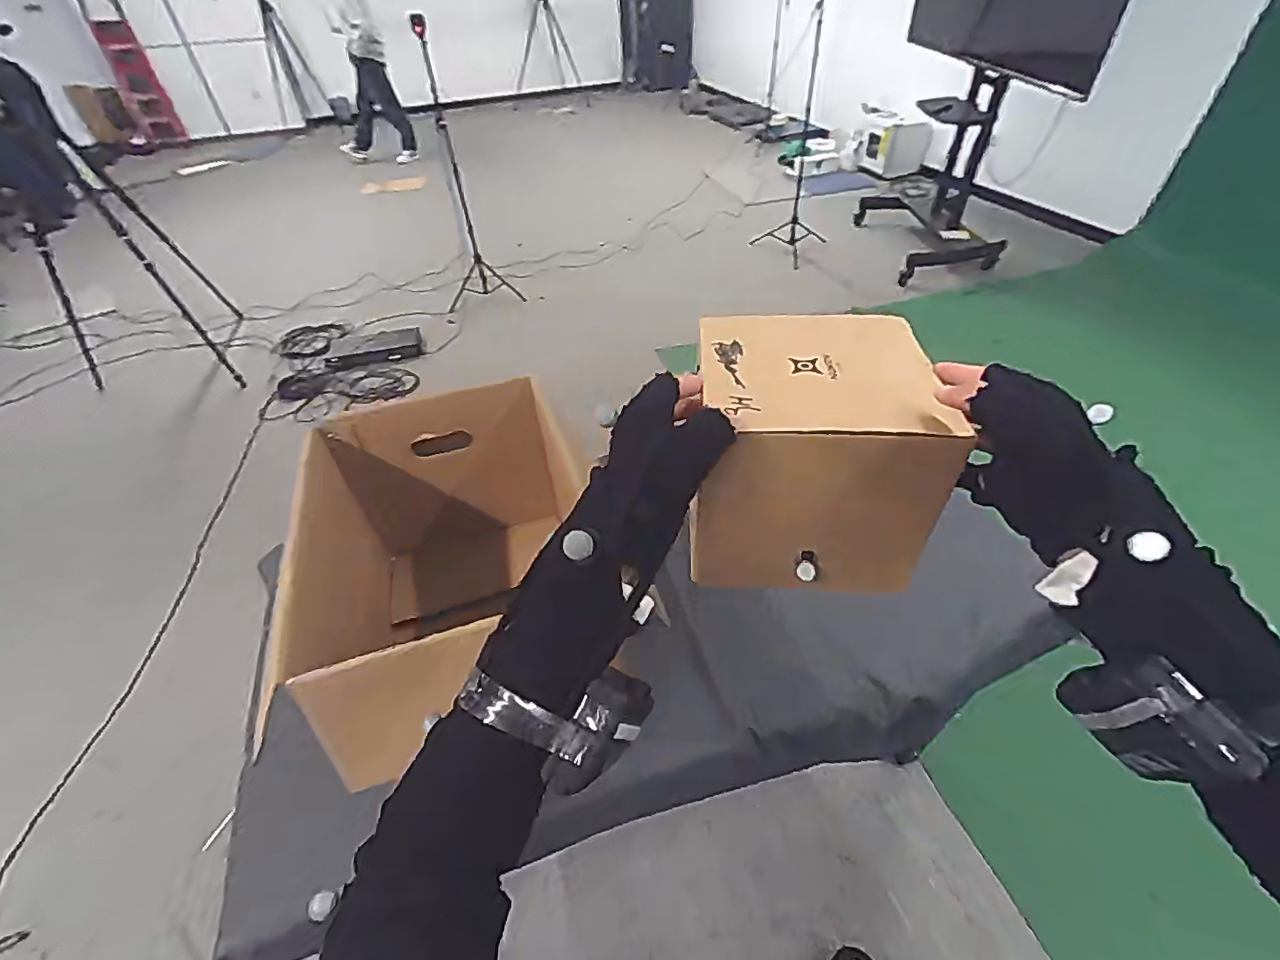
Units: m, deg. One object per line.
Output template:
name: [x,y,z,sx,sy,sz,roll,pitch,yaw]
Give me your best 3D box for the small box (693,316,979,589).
small box: [0.141,-0.023,0.465,0.179,0.176,0.168,3,42,4]
